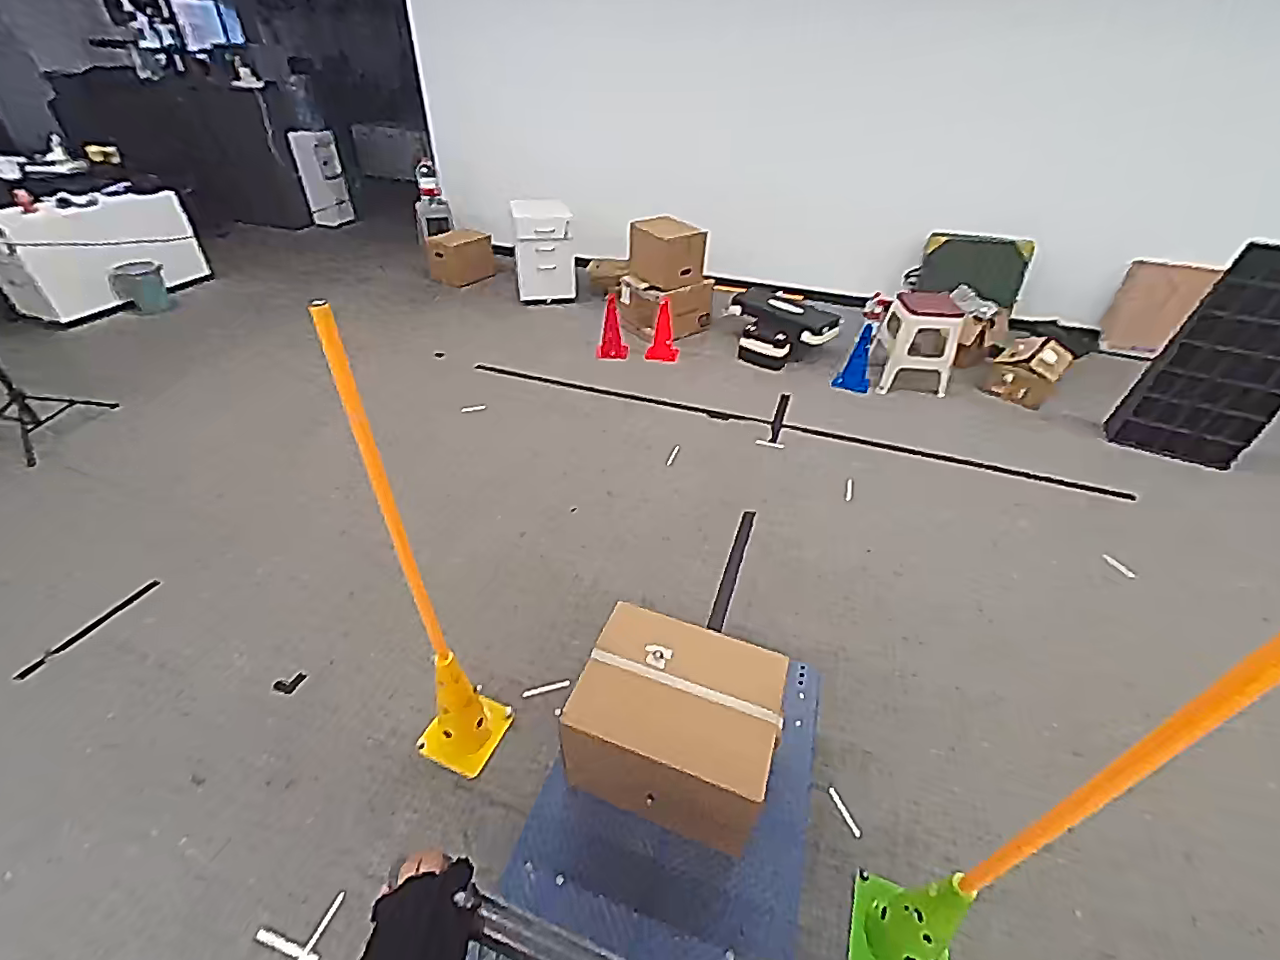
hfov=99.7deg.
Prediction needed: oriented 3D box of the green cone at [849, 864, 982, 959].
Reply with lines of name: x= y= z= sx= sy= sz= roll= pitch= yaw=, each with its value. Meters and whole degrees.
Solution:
green cone: x=0.575 y=0.855 z=1.076 sx=0.202 sy=0.368 sz=0.200 roll=17 pitch=41 yaw=16

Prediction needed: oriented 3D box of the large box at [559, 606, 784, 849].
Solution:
large box: x=0.079 y=0.546 z=1.213 sx=0.408 sy=0.320 sz=0.320 roll=14 pitch=41 yaw=16
